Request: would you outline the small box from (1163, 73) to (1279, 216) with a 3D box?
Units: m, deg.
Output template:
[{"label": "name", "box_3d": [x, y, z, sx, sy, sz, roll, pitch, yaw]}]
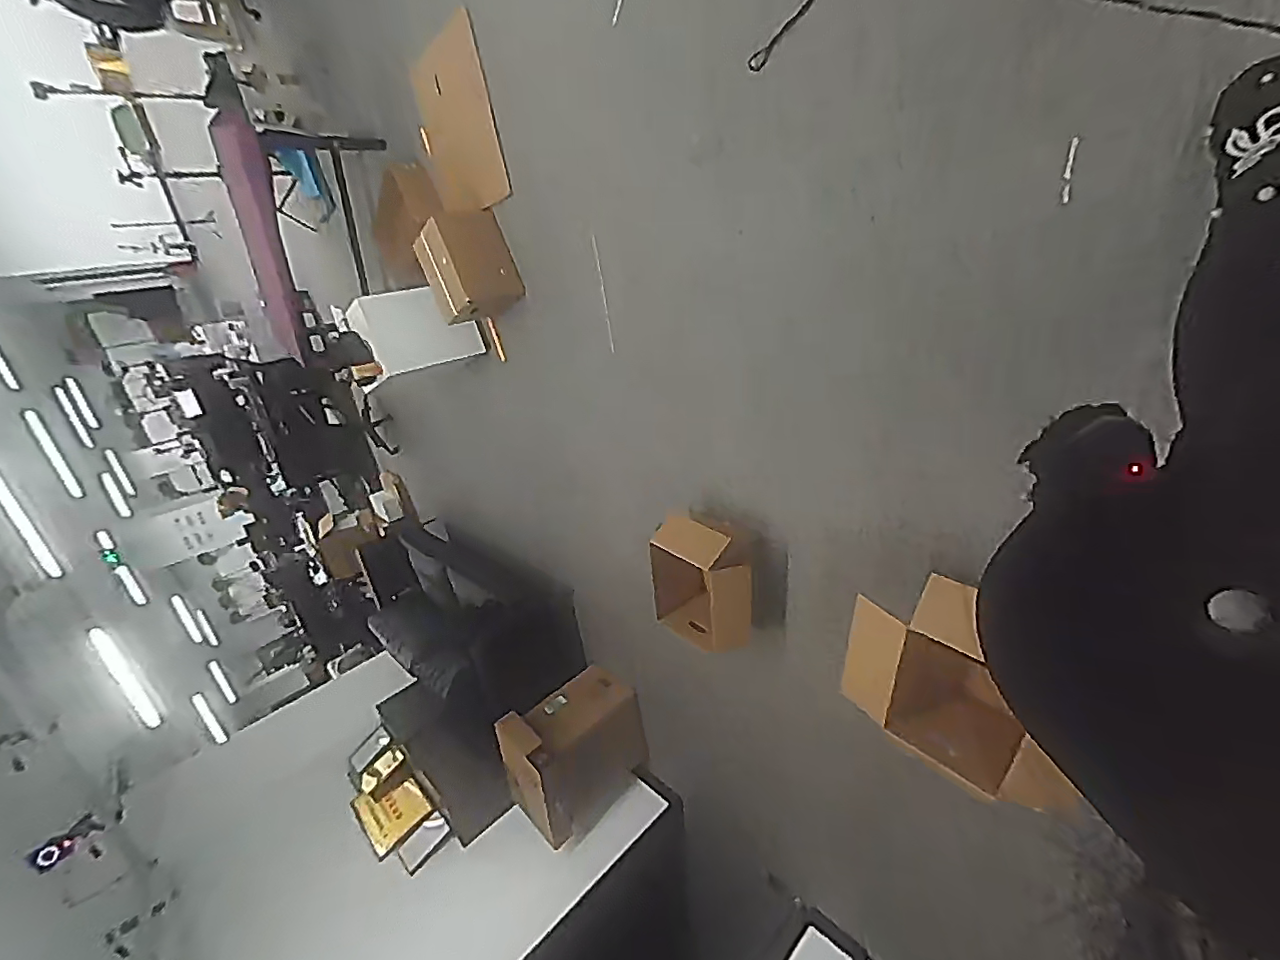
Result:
[{"label": "small box", "box_3d": [1.004, -0.538, 0.862, 0.168, 0.176, 0.179, 92, 155, -44]}]
